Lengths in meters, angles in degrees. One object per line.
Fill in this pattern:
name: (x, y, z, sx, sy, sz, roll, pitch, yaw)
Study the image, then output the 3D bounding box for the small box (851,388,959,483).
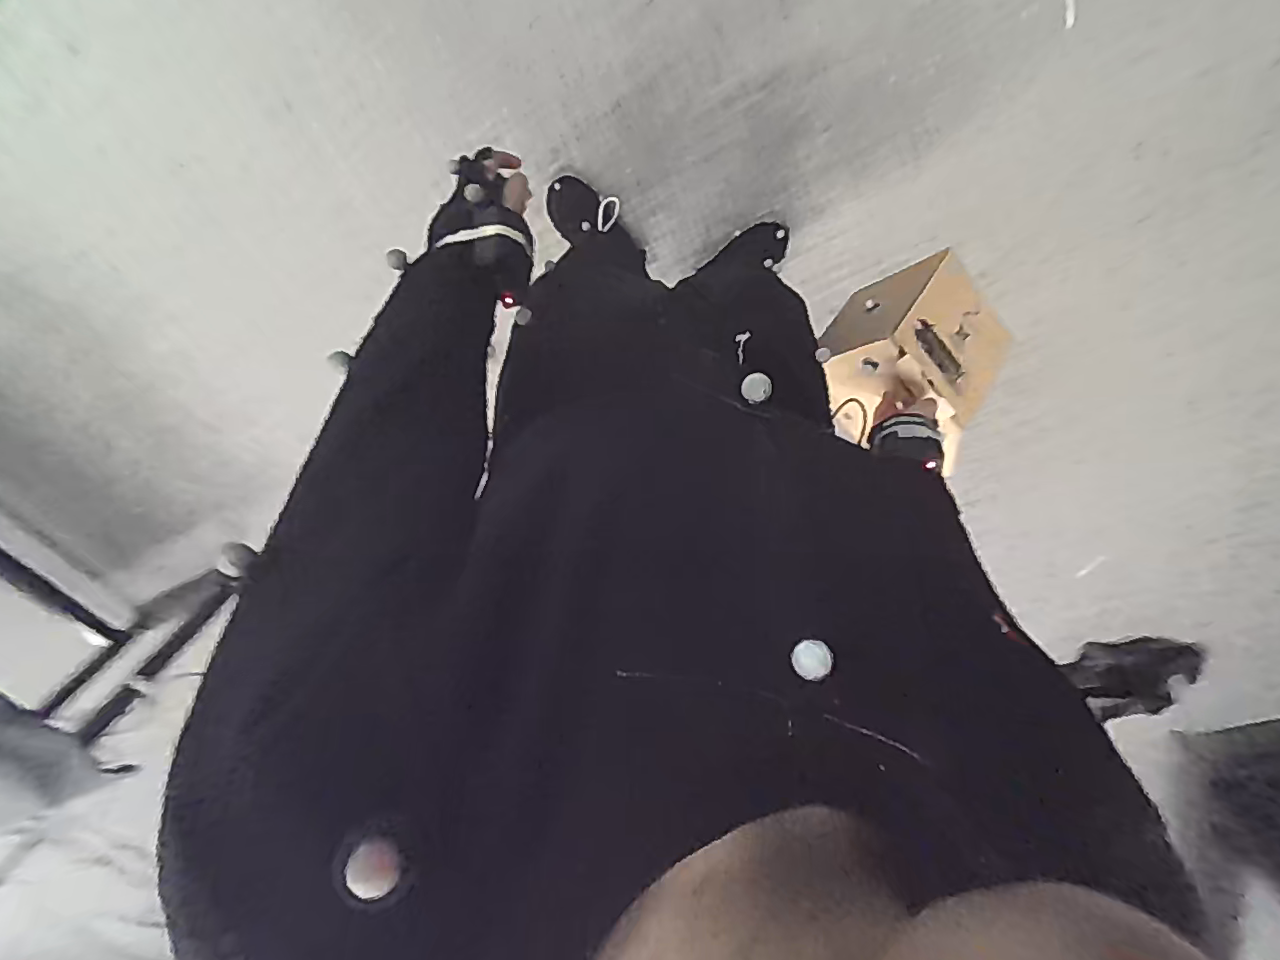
small box: (0.627, -0.111, 1.301, 0.179, 0.176, 0.168, -5, 123, 7)
